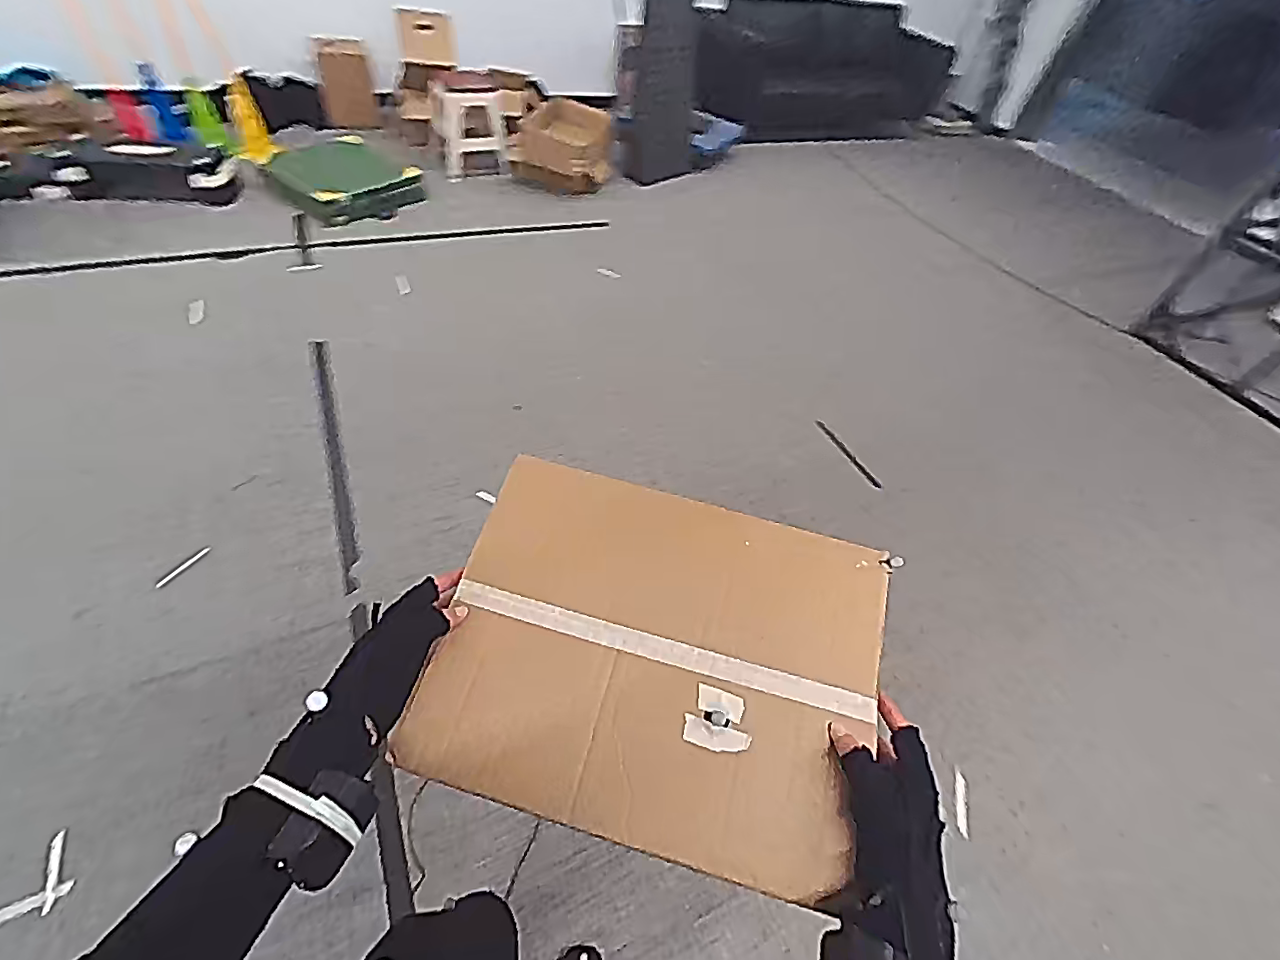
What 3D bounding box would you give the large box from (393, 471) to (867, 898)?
[{"bbox_3d":[0.004,0.231,0.652,0.408,0.320,0.320,14,65,5],"label":"large box"}]
